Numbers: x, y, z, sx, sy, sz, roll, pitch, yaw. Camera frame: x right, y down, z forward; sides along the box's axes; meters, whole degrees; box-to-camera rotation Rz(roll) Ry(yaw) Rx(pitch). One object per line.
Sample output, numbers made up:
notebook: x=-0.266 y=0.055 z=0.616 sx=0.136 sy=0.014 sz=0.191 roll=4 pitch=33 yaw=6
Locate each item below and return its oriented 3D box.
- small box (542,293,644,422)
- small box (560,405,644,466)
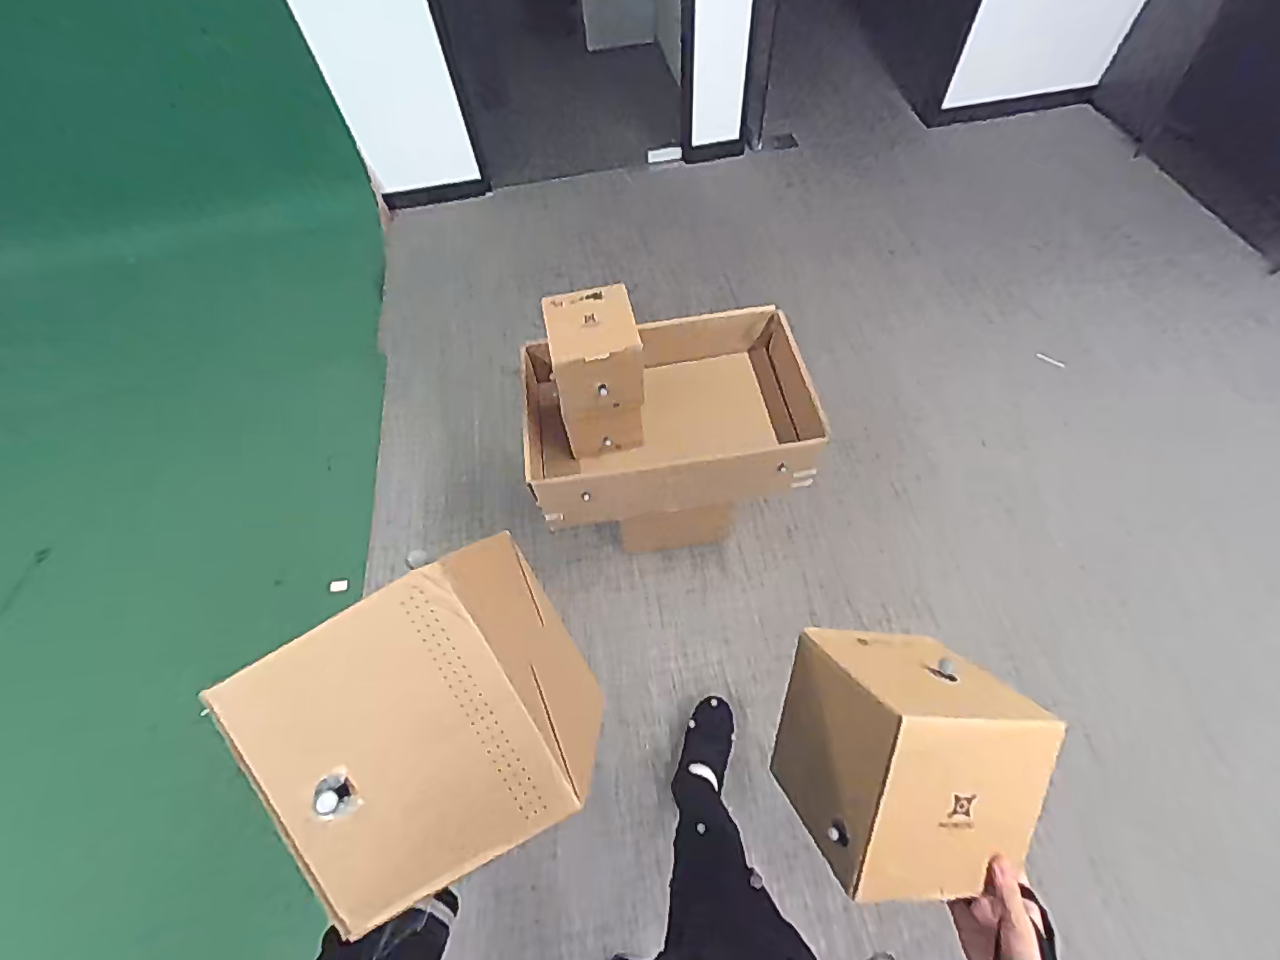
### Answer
small box: x=-0.088 y=-0.231 z=1.062 sx=0.168 sy=0.176 sz=0.179 roll=-11 pitch=60 yaw=-3
small box: x=-0.089 y=-0.158 z=1.210 sx=0.168 sy=0.176 sz=0.179 roll=-12 pitch=59 yaw=-2
